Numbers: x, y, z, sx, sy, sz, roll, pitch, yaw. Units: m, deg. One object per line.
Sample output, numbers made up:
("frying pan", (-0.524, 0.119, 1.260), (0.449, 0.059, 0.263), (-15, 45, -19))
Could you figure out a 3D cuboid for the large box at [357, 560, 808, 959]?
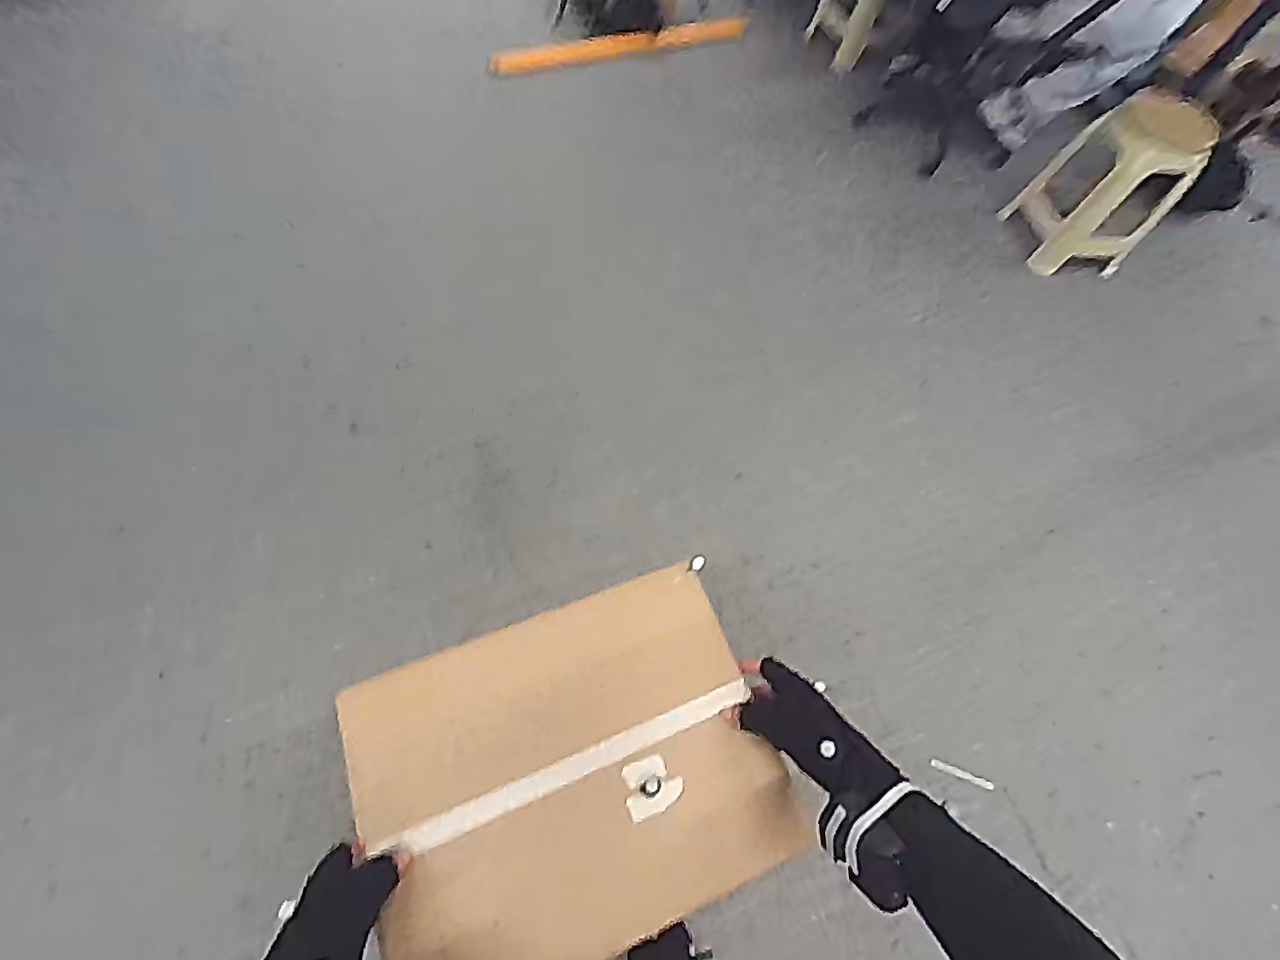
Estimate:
("large box", (-0.076, 0.354, 0.695), (0.408, 0.320, 0.320), (-18, 68, -14))
